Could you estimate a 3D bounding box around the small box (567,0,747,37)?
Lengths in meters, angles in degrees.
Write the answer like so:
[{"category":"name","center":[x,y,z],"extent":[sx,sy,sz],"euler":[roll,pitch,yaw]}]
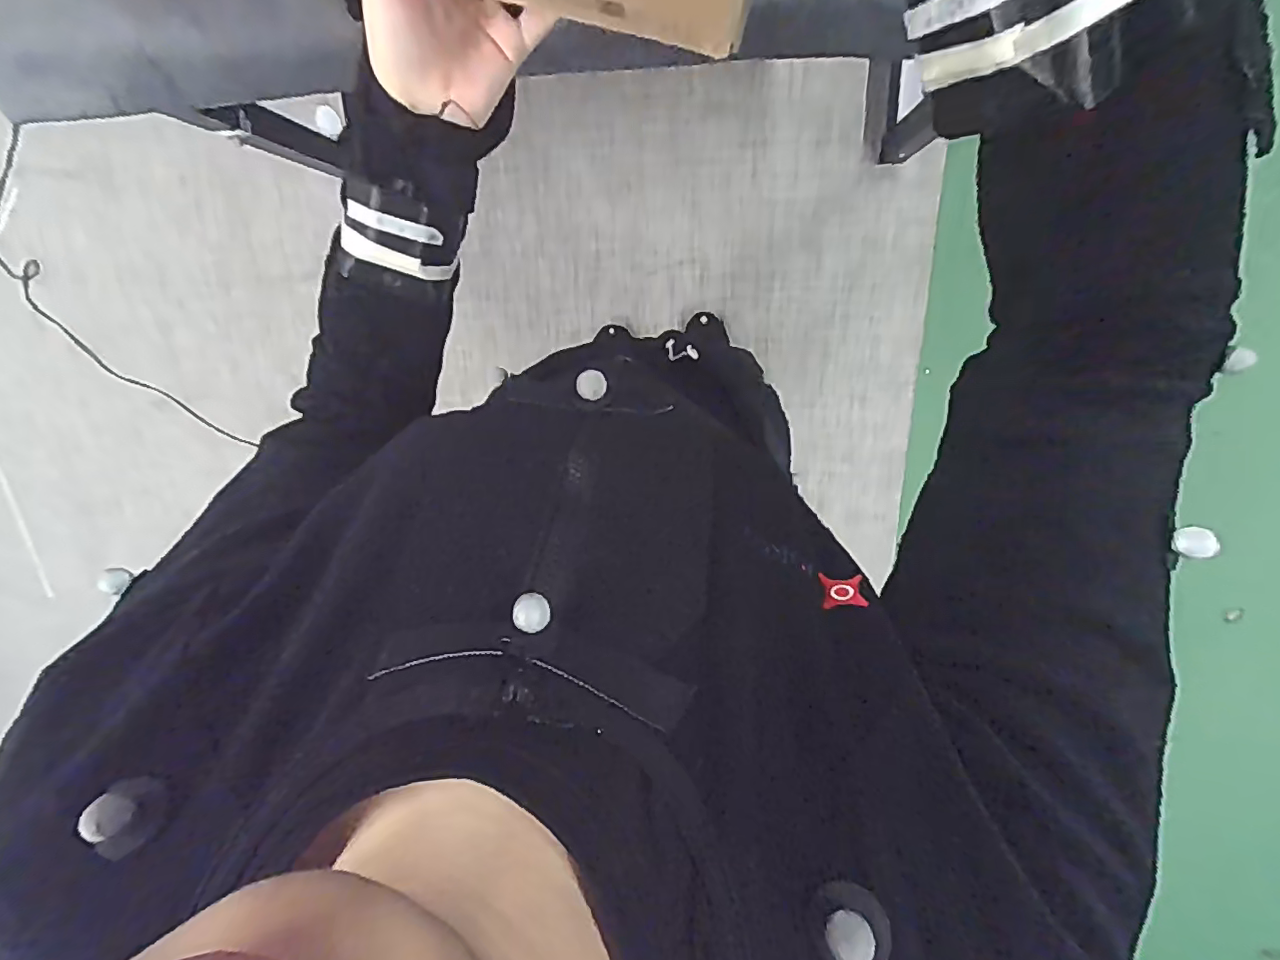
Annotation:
[{"category":"small box","center":[-0.018,-0.289,0.168],"extent":[0.168,0.176,0.179],"euler":[14,114,1]}]
